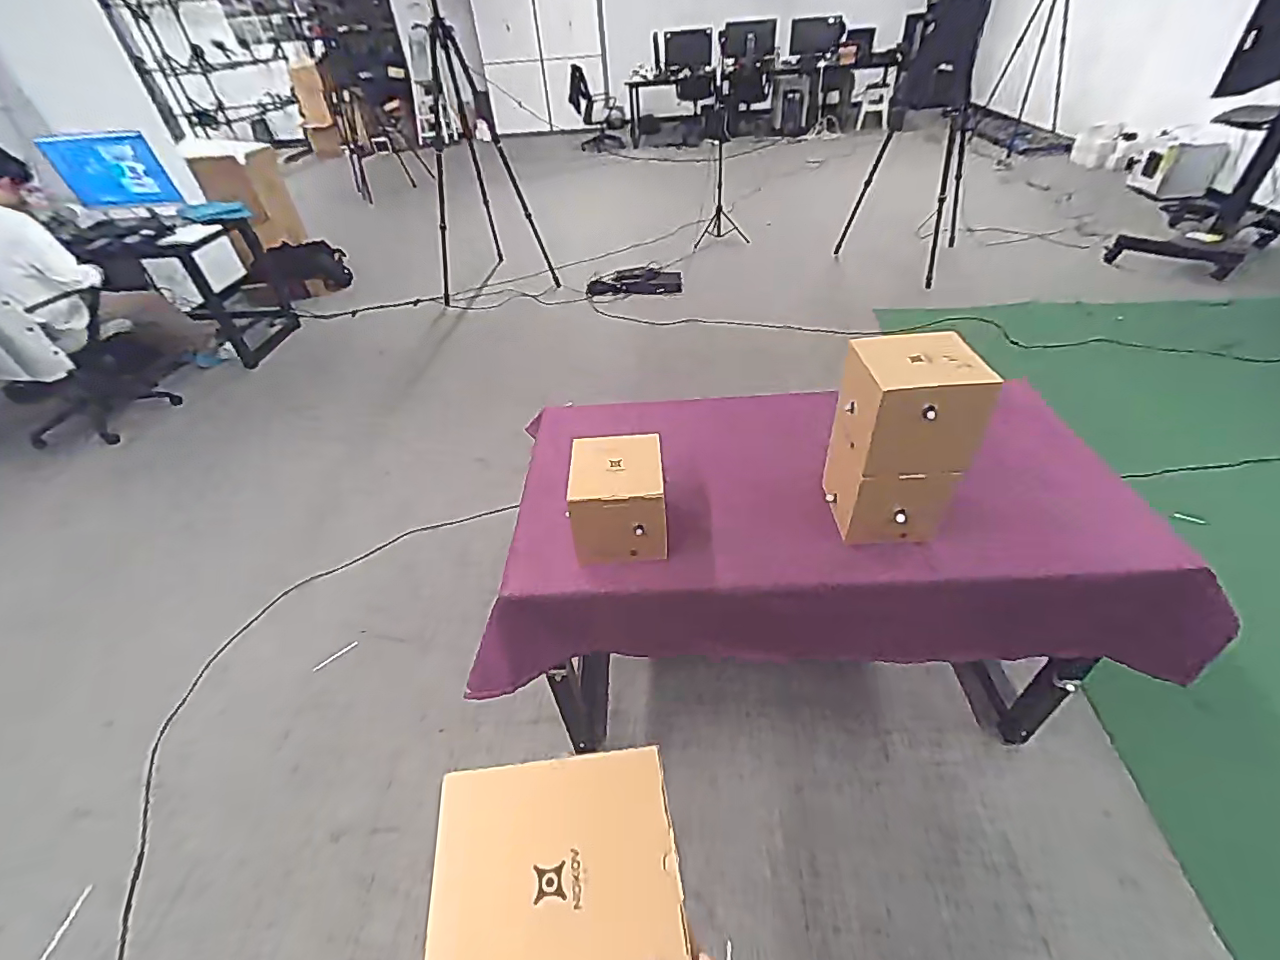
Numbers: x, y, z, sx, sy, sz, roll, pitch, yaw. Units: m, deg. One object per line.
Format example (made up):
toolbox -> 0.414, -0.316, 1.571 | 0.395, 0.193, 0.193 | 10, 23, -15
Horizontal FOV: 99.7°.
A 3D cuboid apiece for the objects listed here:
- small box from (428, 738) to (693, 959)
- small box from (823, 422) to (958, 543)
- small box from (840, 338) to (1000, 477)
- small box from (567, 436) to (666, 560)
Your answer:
small box -> -0.061, 0.337, 0.445 | 0.179, 0.176, 0.168 | -4, 46, -8
small box -> 0.451, 0.005, 1.007 | 0.168, 0.176, 0.179 | -2, 42, 3
small box -> 0.443, -0.118, 0.896 | 0.179, 0.176, 0.168 | -3, 41, 3
small box -> -0.037, 0.038, 1.018 | 0.168, 0.176, 0.179 | -3, 41, 1
